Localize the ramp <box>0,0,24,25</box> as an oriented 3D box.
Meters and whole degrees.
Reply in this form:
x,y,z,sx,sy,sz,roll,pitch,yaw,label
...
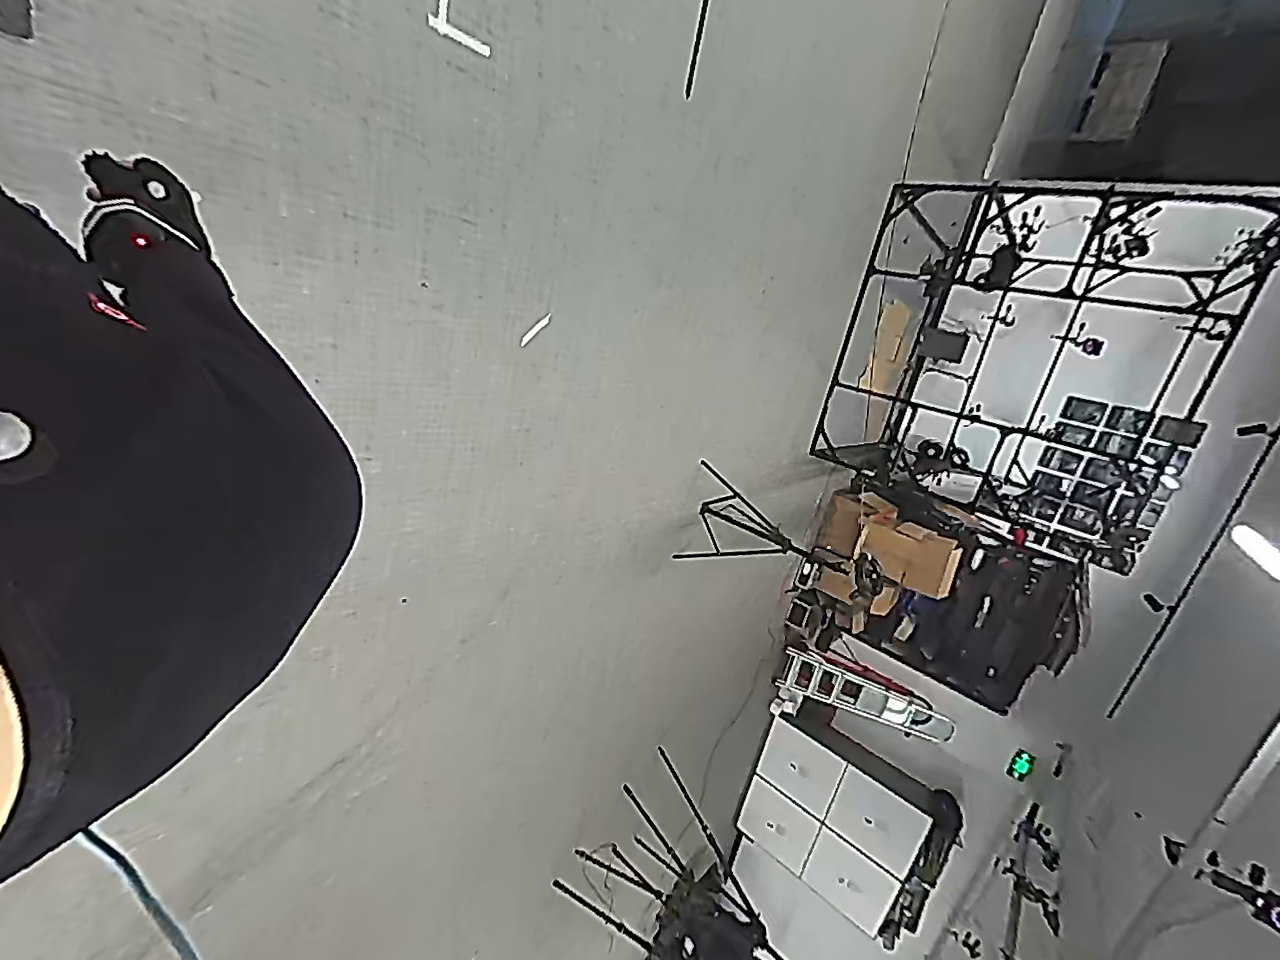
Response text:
x,y,z,sx,sy,sz,roll,pitch,yaw,label
-0.981,-1.127,0.497,0.509,0.206,0.991,-13,121,-51,ramp
